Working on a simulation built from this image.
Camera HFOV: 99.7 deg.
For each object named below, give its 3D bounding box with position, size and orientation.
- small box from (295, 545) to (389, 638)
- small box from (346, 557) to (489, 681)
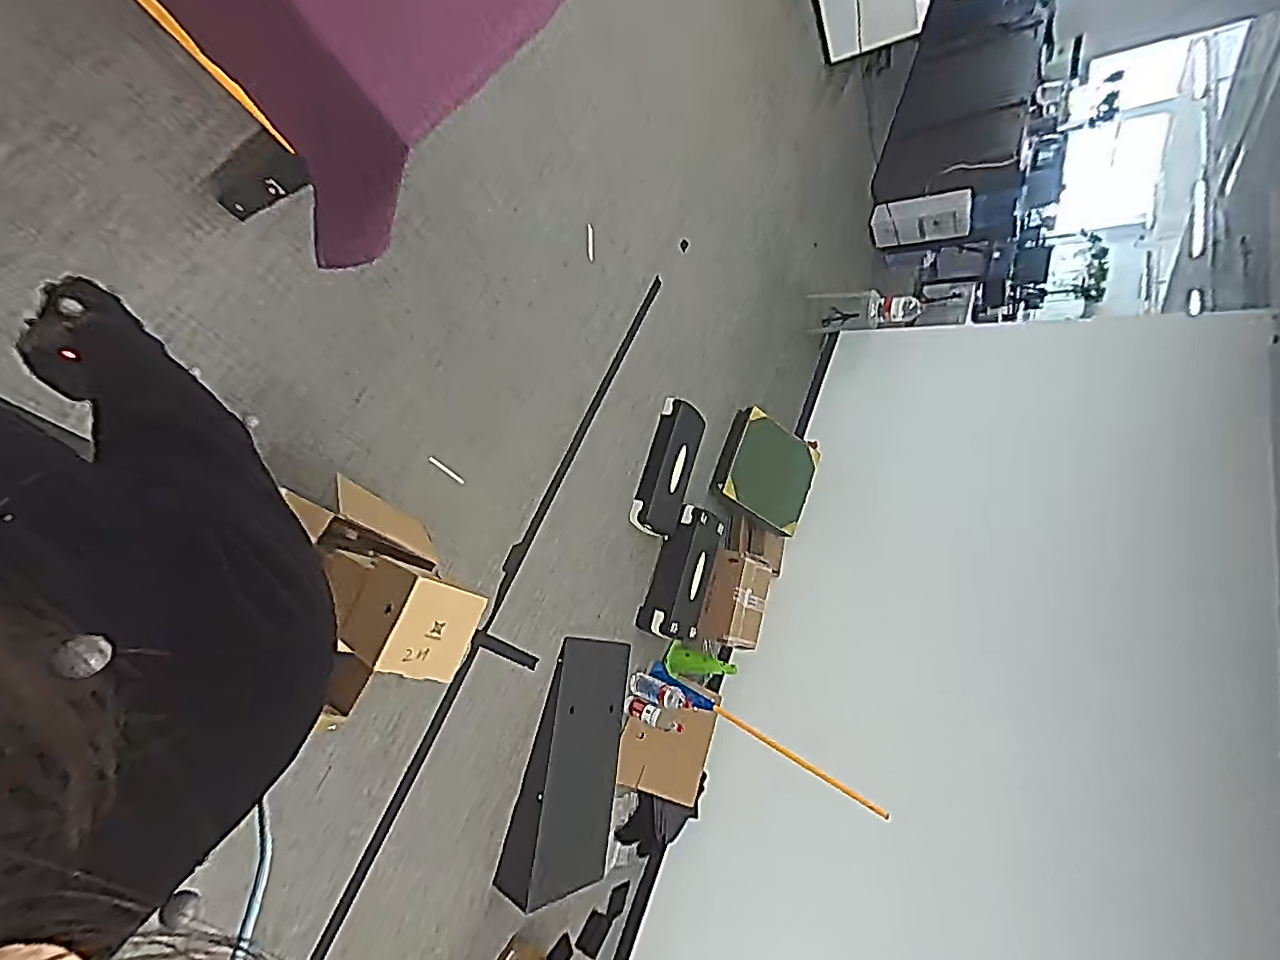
[{"bbox_3d":[-0.684,0.258,1.276,0.168,0.176,0.179,16,86,-50],"label":"small box"},{"bbox_3d":[-0.437,0.266,1.056,0.168,0.176,0.179,36,71,-45],"label":"small box"}]
